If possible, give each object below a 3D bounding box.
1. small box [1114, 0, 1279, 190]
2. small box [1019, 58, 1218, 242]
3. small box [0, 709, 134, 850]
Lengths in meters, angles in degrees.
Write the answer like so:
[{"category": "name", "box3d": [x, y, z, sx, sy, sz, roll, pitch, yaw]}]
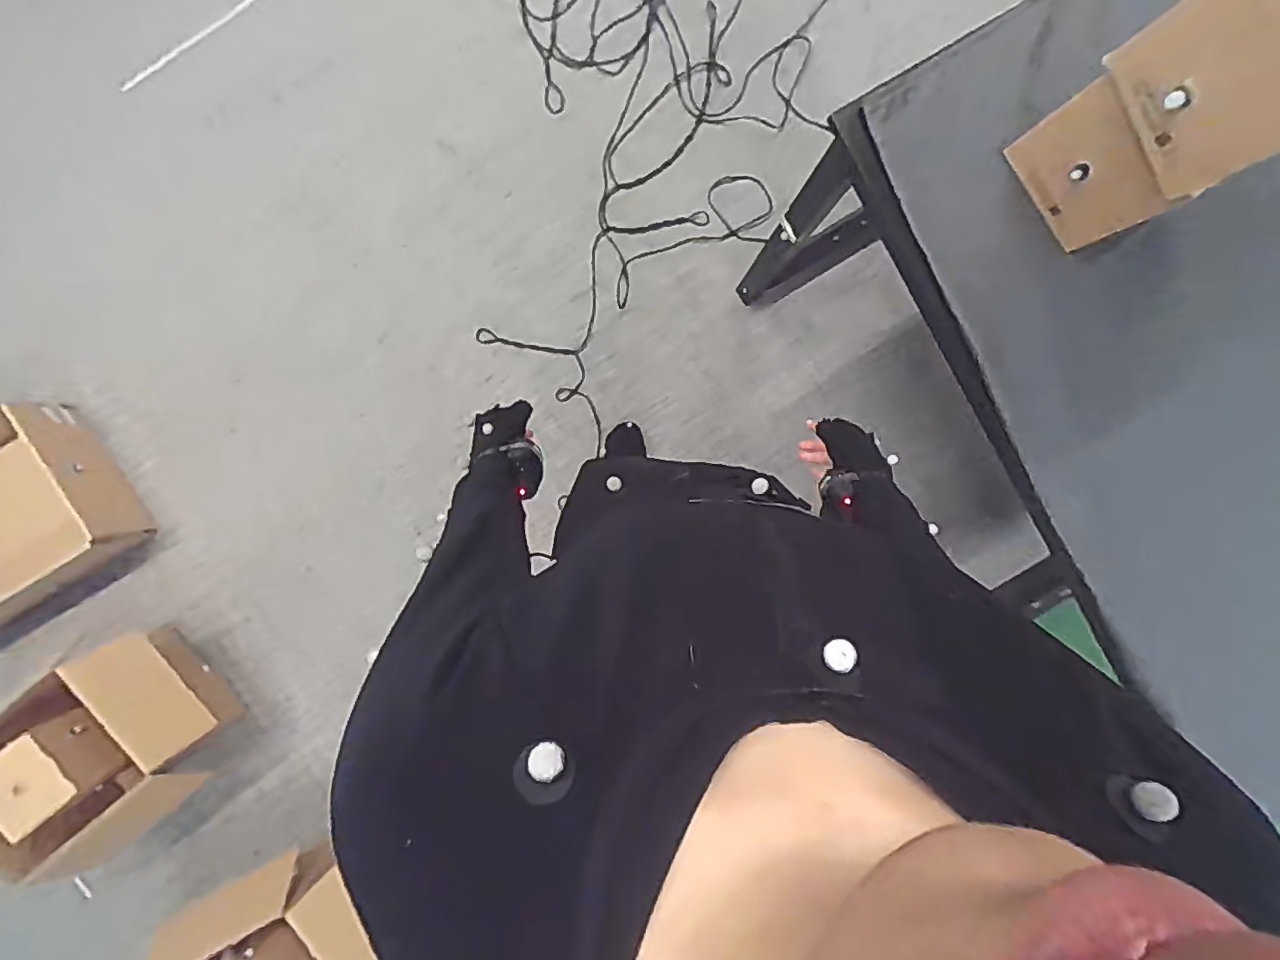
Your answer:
[{"category": "small box", "box3d": [0.602, -0.408, 0.489, 0.179, 0.176, 0.168, -29, 94, 0]}, {"category": "small box", "box3d": [0.608, -0.426, 0.653, 0.179, 0.176, 0.168, -37, 95, 0]}, {"category": "small box", "box3d": [-1.283, 0.645, 1.190, 0.179, 0.176, 0.168, -40, 92, -1]}]
